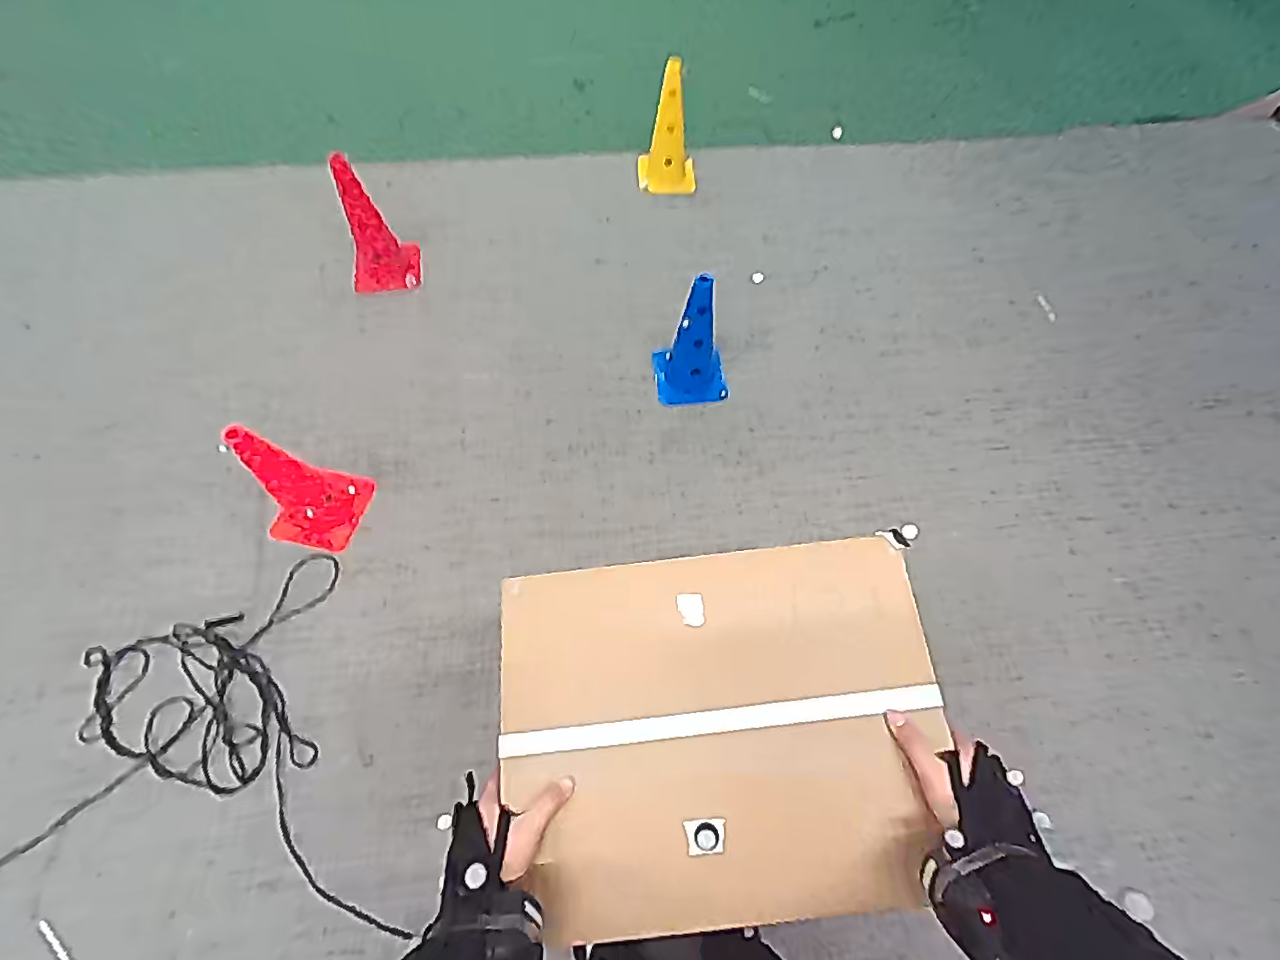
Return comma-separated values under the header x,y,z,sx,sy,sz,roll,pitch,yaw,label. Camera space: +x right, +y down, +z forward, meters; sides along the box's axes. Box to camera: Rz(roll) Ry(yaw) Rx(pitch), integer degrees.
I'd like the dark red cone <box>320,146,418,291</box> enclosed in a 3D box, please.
x,y,z,sx,sy,sz,roll,pitch,yaw,label
-0.803,-0.758,1.568,0.202,0.394,0.201,-11,60,-6,dark red cone

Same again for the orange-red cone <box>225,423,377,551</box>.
x,y,z,sx,sy,sz,roll,pitch,yaw,label
-0.783,-0.010,1.197,0.199,0.360,0.198,12,62,8,orange-red cone

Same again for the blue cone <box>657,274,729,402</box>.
x,y,z,sx,sy,sz,roll,pitch,yaw,label
0.152,-0.379,1.415,0.192,0.380,0.193,-4,63,-3,blue cone
